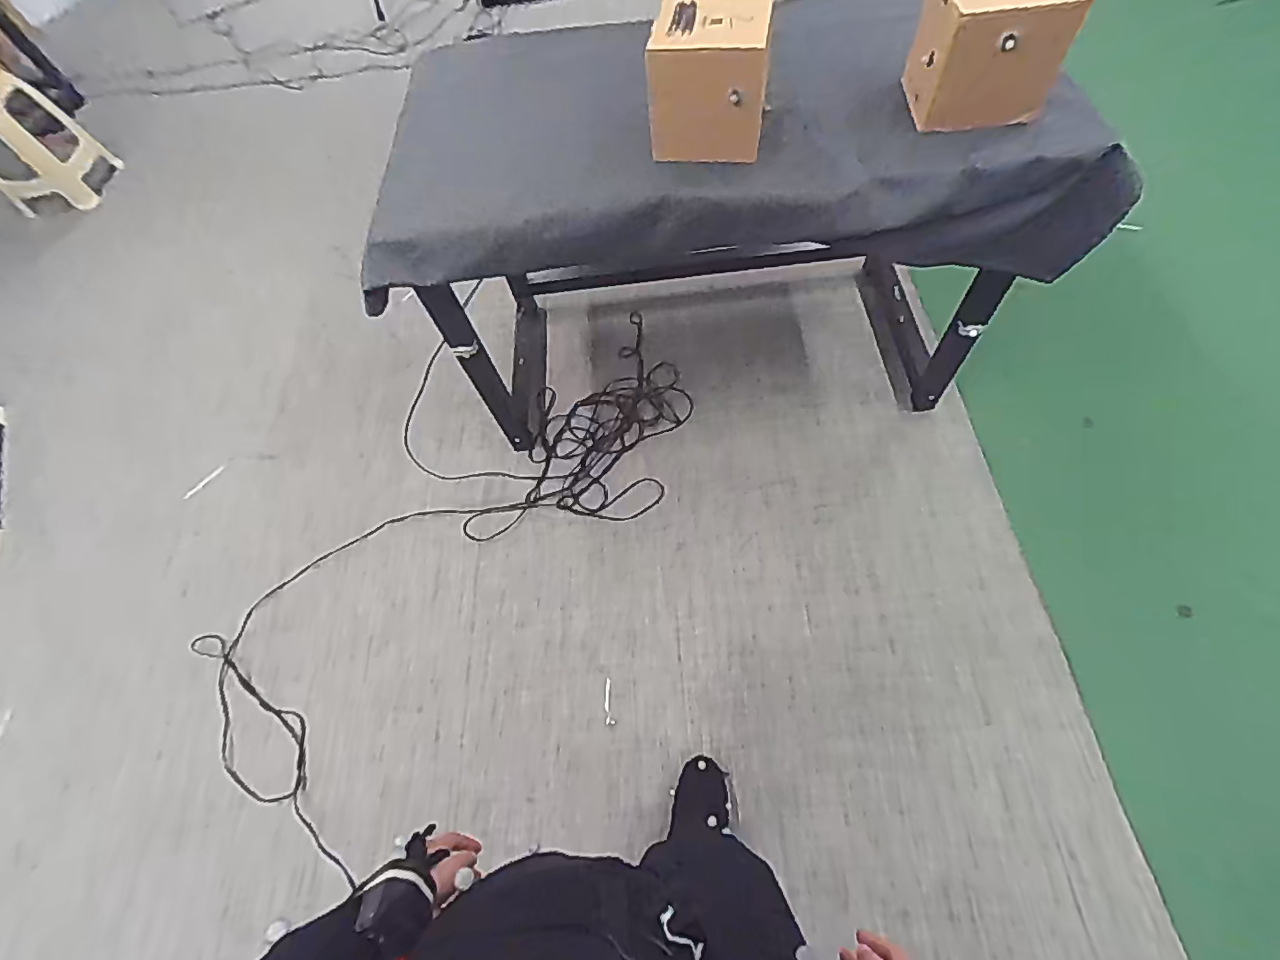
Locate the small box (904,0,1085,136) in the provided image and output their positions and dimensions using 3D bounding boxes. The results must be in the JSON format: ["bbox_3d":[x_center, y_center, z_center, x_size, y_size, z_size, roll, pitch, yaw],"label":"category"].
[{"bbox_3d":[0.535,-0.674,0.852,0.179,0.176,0.168,-1,63,6],"label":"small box"}]
